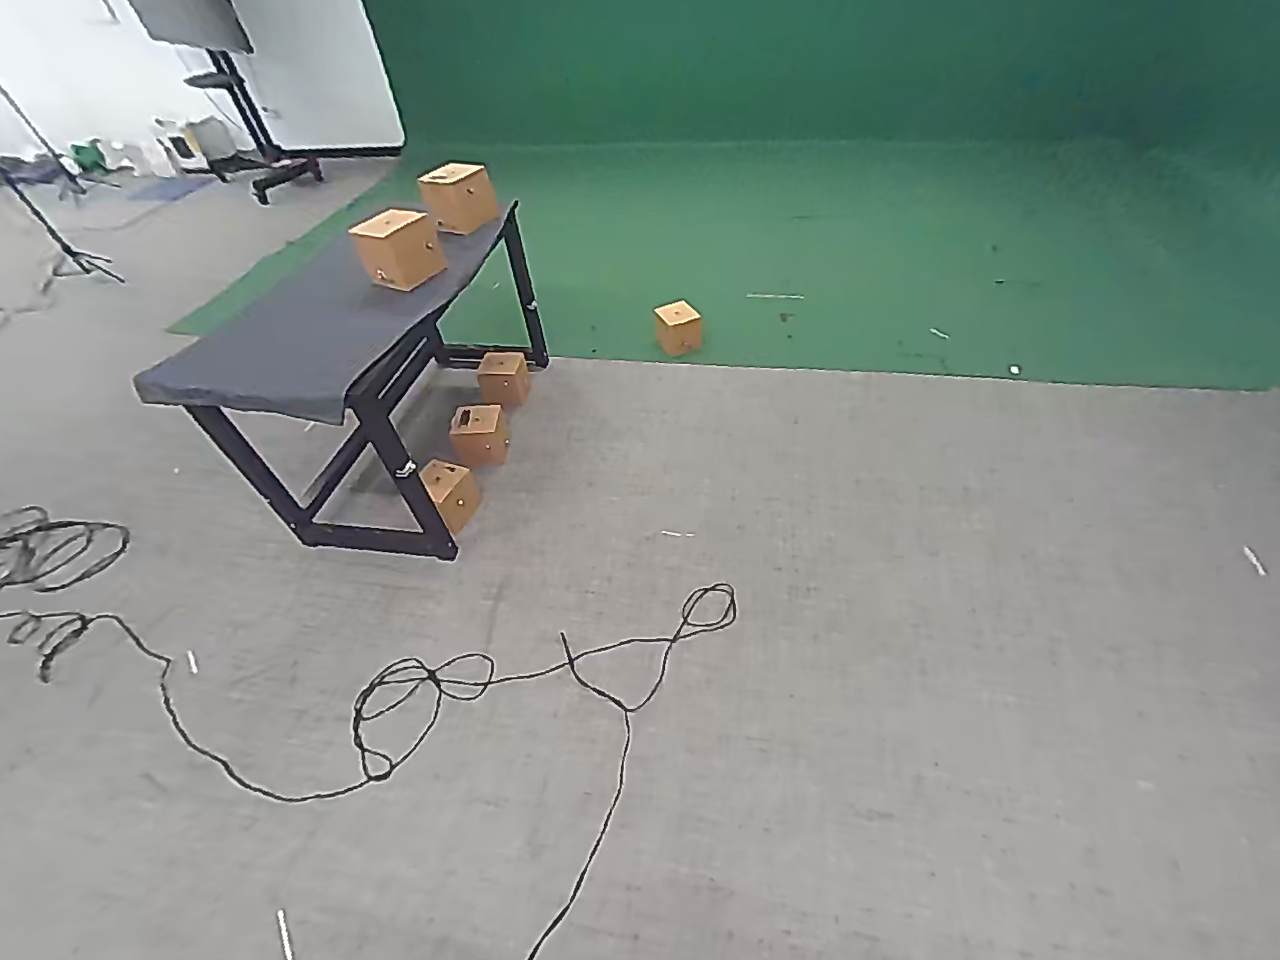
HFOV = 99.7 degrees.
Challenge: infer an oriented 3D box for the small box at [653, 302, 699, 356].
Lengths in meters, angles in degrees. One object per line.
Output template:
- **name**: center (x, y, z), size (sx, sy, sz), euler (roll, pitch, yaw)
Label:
- **small box**: center (0.170, -0.727, 2.599), size (0.168, 0.176, 0.179), euler (-22, 50, -15)

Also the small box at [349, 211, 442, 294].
- **small box**: center (-0.734, -0.695, 1.652), size (0.168, 0.176, 0.179), euler (18, 53, 24)

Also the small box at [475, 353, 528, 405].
- **small box**: center (-0.608, -0.447, 2.403), size (0.179, 0.176, 0.168), euler (1, 47, 6)

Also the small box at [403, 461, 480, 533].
- **small box**: center (-0.703, 0.063, 1.940), size (0.168, 0.176, 0.179), euler (14, 51, 17)

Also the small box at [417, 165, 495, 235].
- **small box**: center (-0.639, -0.985, 1.905), size (0.168, 0.176, 0.179), euler (20, 53, 24)
